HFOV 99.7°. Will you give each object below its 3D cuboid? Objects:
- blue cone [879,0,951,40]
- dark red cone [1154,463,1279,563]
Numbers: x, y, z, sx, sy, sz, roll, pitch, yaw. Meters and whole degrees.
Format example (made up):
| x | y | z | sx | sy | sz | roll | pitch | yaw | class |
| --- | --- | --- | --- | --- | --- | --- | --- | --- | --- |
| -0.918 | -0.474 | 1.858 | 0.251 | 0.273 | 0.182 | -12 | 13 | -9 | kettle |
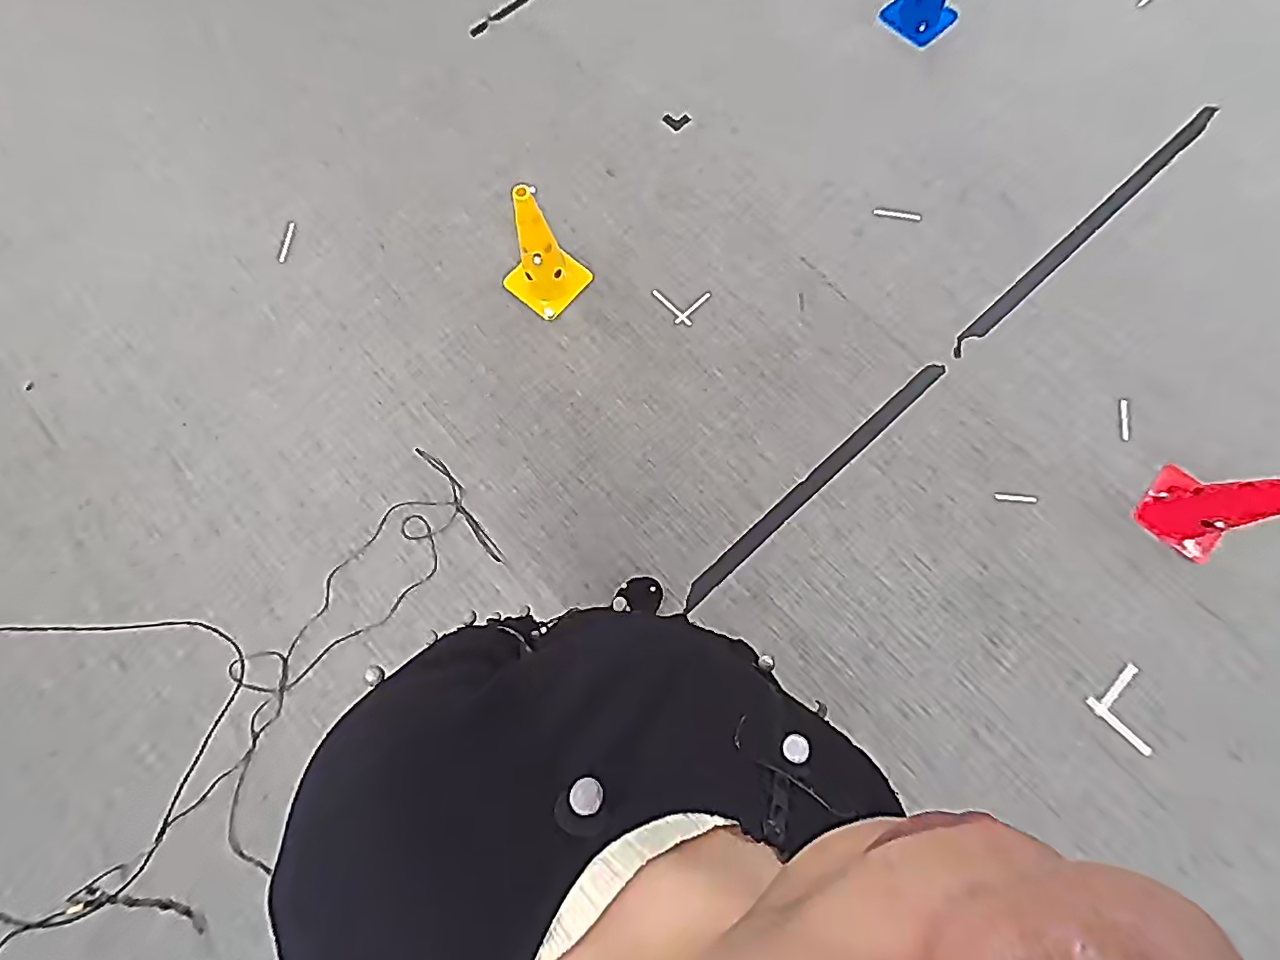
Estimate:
| x | y | z | sx | sy | sz | roll | pitch | yaw | class |
| --- | --- | --- | --- | --- | --- | --- | --- | --- | --- |
| 0.909 | -1.586 | 1.630 | 0.193 | 0.380 | 0.192 | -41 | 78 | -8 | blue cone |
| 1.422 | 0.045 | 1.209 | 0.201 | 0.394 | 0.202 | 39 | 80 | 10 | dark red cone |
